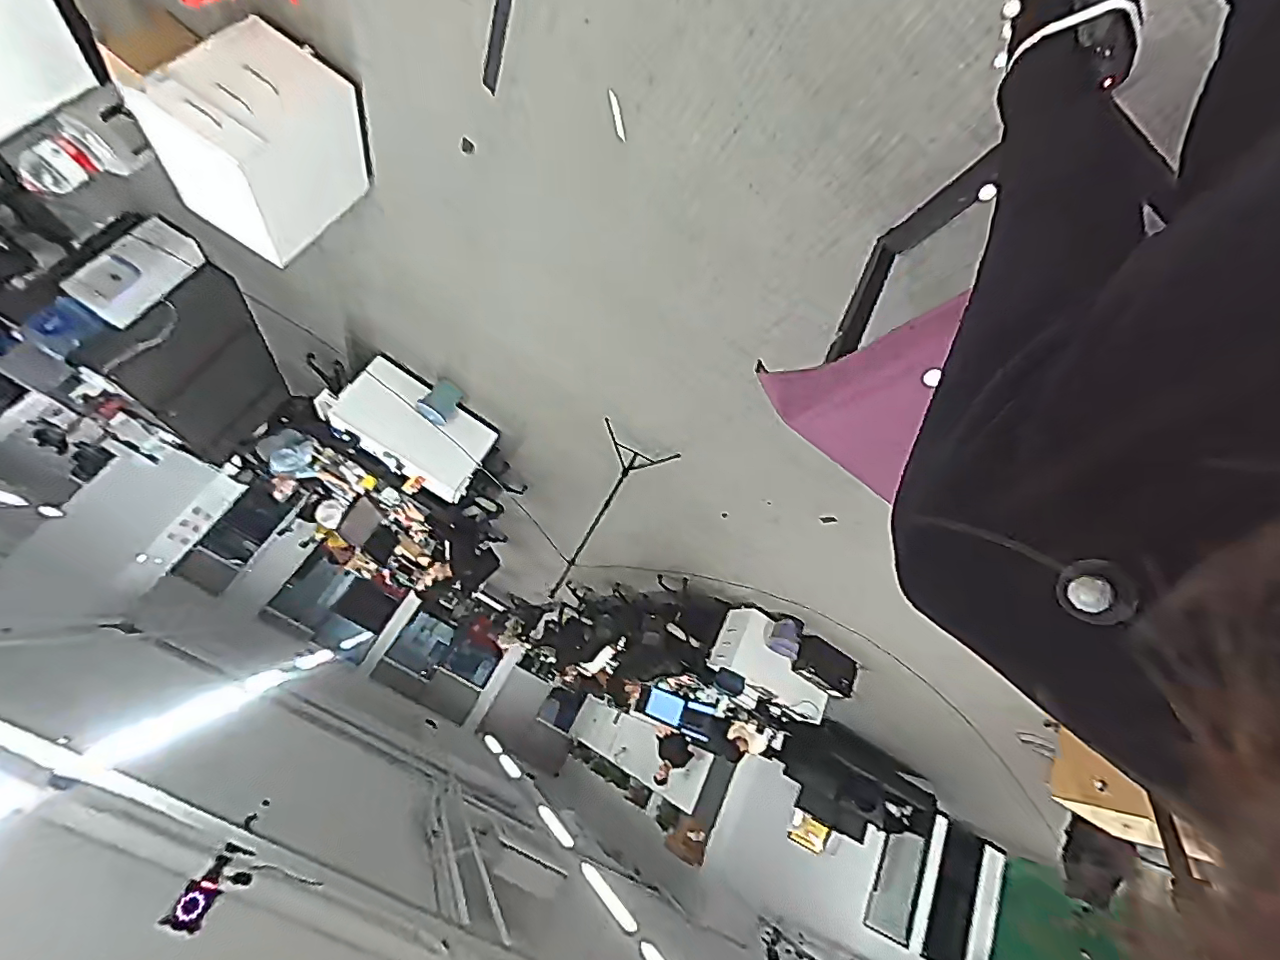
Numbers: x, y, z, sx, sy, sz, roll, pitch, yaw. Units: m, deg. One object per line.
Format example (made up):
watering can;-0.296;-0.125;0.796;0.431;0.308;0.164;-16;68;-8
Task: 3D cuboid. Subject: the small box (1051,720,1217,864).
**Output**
small box;0.940;0.578;1.030;0.168;0.176;0.179;32;155;-5
